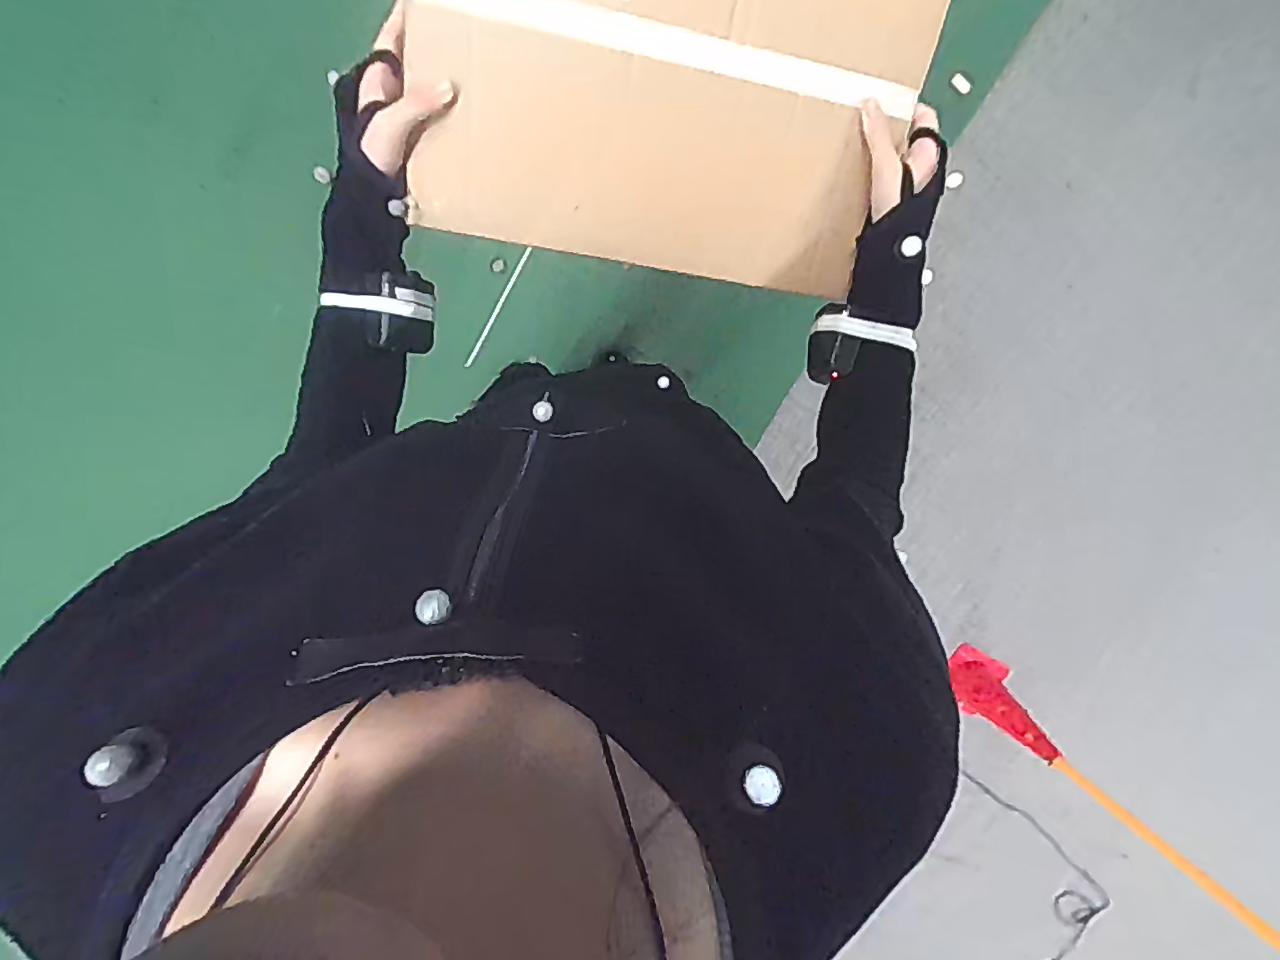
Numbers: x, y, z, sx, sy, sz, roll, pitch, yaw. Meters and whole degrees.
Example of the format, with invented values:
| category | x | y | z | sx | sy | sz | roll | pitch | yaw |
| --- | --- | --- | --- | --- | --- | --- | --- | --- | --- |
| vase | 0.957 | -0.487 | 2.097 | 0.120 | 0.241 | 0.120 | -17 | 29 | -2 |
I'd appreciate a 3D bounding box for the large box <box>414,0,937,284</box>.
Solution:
| category | x | y | z | sx | sy | sz | roll | pitch | yaw |
| --- | --- | --- | --- | --- | --- | --- | --- | --- | --- |
| large box | 0.016 | -0.415 | 0.555 | 0.408 | 0.320 | 0.320 | 7 | 117 | -10 |
